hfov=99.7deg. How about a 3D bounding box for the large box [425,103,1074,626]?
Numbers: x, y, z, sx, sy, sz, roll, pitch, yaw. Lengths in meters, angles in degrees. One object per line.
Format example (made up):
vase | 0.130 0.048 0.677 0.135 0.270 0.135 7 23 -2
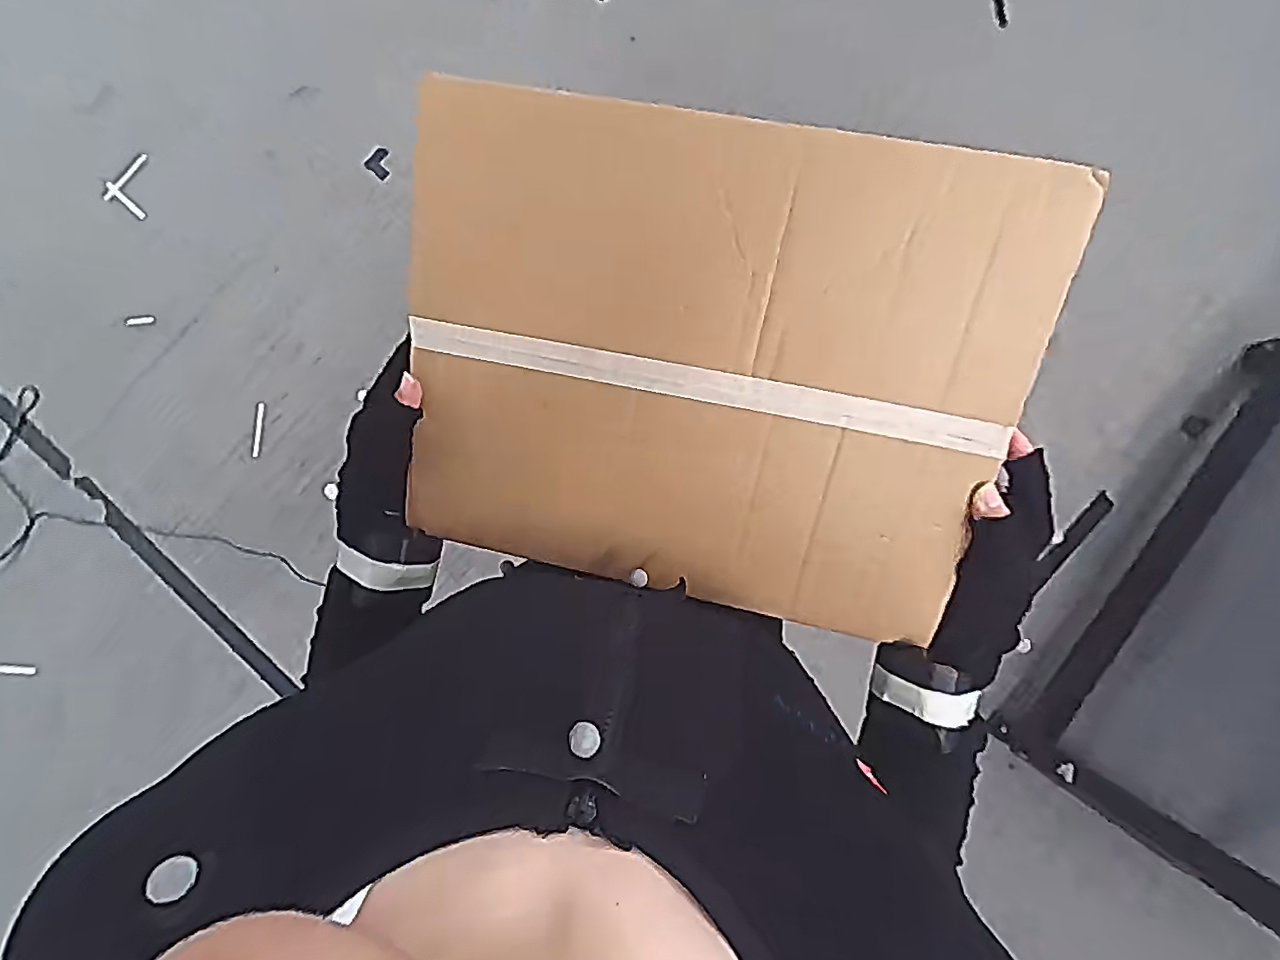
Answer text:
large box | 0.059 -0.110 0.520 0.408 0.320 0.320 11 109 5
